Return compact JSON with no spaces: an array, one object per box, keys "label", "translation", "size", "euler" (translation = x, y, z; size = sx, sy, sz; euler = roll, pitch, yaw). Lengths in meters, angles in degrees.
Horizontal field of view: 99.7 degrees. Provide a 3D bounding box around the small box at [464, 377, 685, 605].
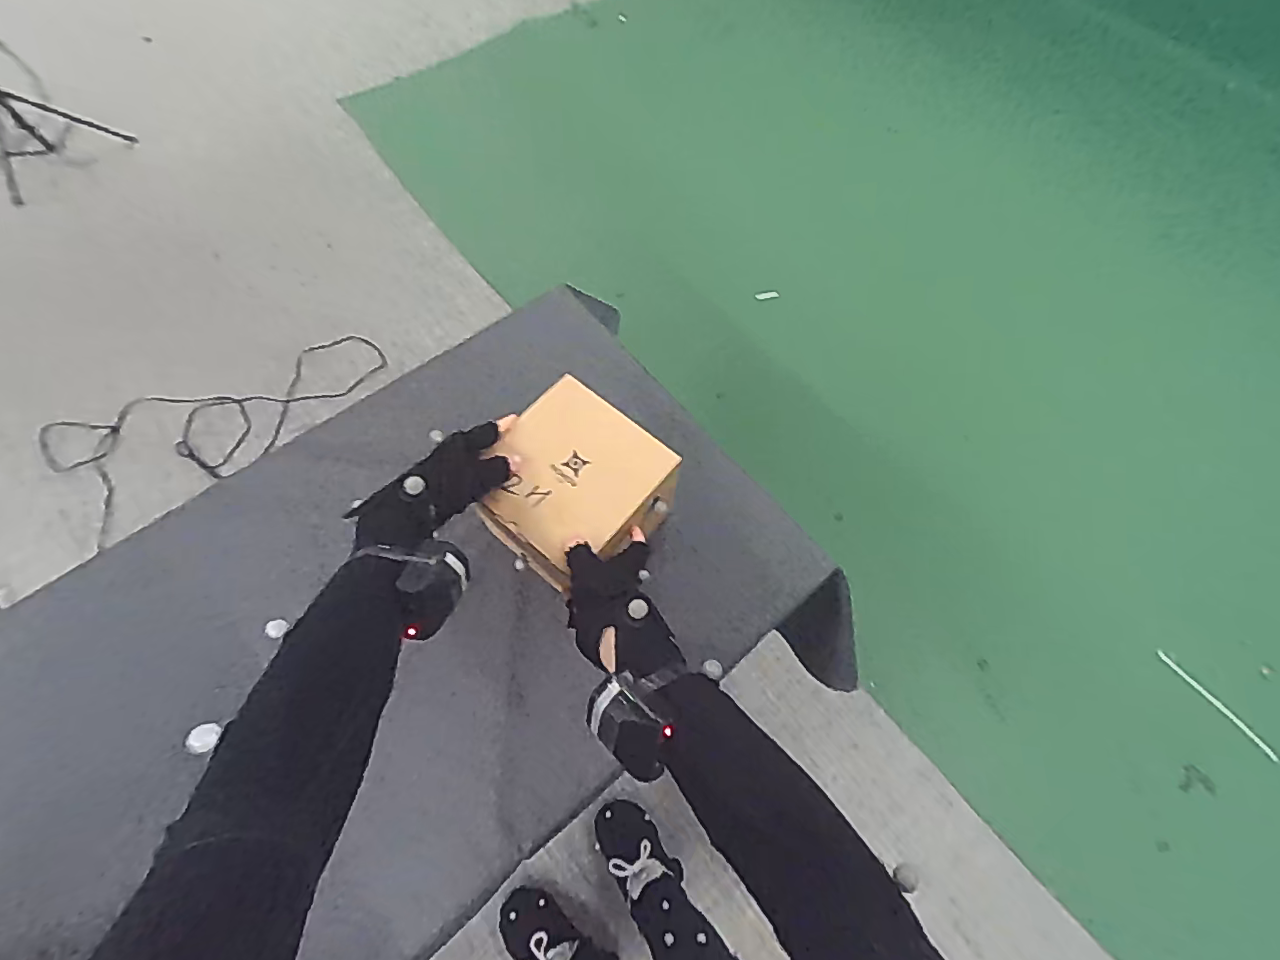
[{"label":"small box","translation":[-0.071,0.021,0.637],"size":[0.168,0.176,0.179],"euler":[38,71,14]}]
